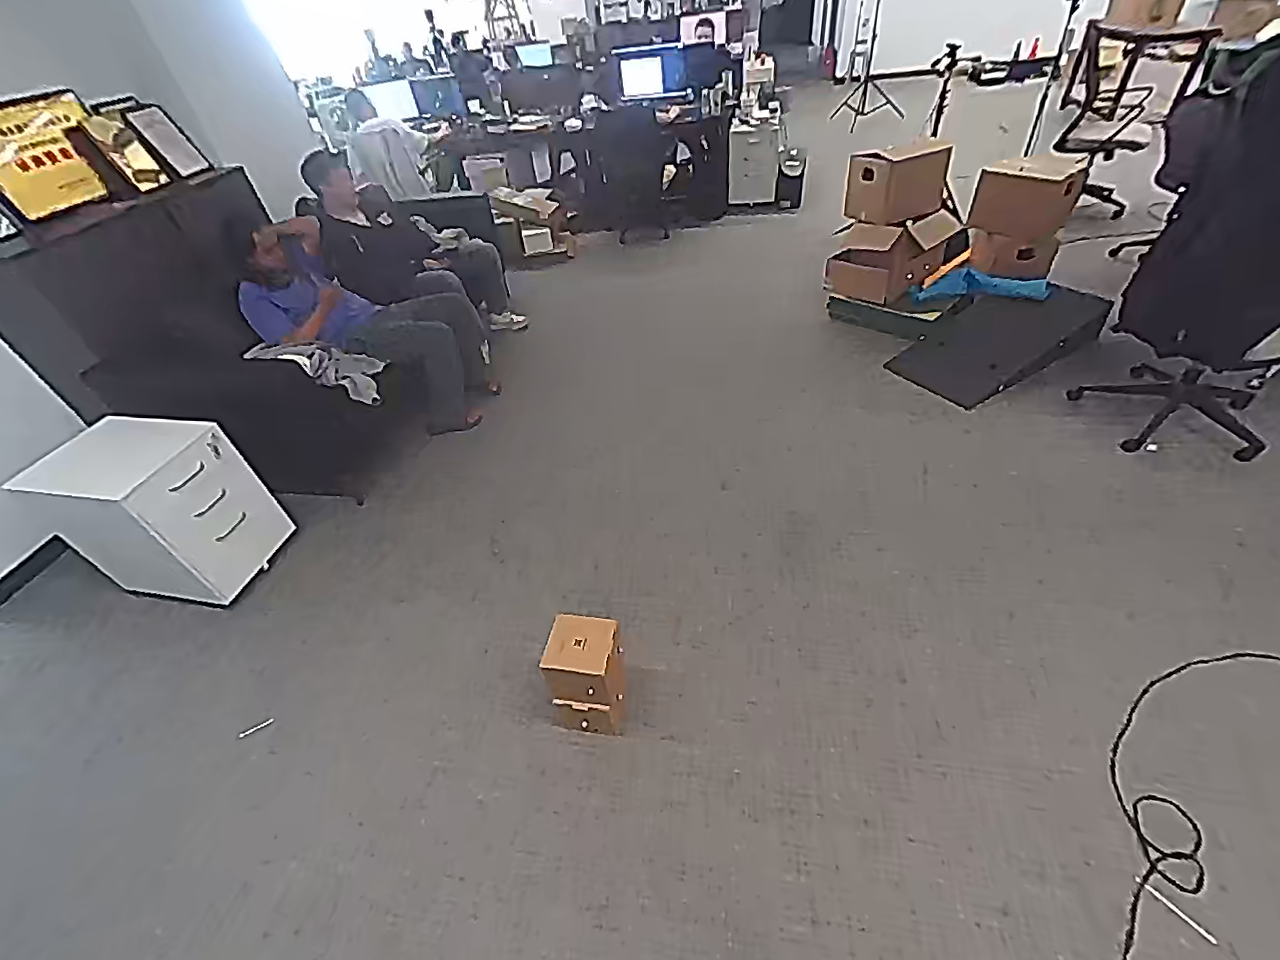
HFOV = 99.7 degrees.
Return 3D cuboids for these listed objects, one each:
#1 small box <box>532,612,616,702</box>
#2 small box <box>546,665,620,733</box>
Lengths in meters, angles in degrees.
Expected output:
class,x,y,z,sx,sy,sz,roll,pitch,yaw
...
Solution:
class,x,y,z,sx,sy,sz,roll,pitch,yaw
small box,-0.169,0.482,1.467,0.179,0.176,0.168,2,42,11
small box,-0.160,0.619,1.586,0.168,0.176,0.179,1,42,11
